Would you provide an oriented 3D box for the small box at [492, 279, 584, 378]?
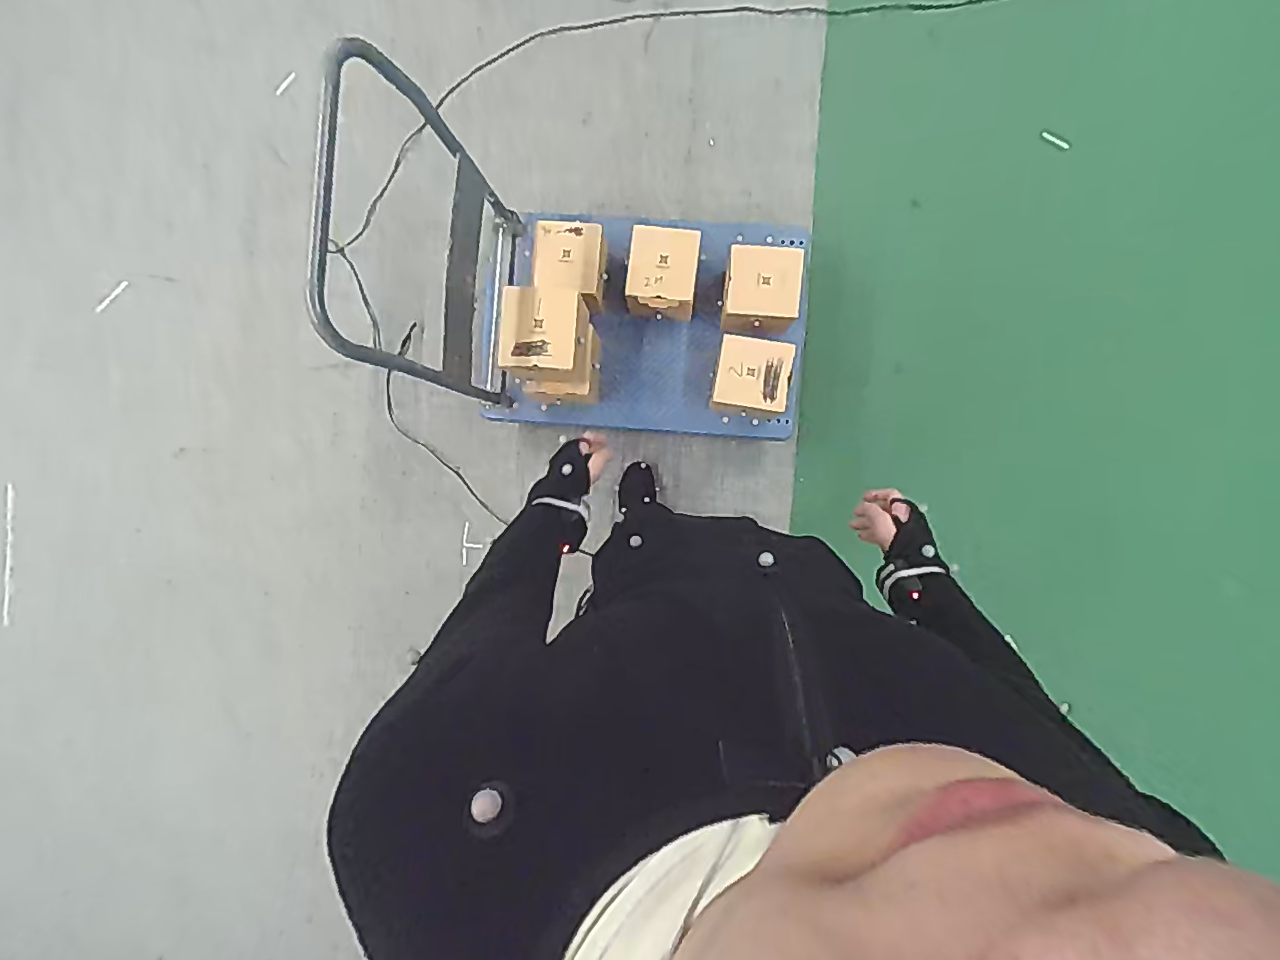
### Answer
[{"bbox_3d":[-0.224,-0.333,1.222,0.168,0.176,0.179,5,90,2],"label":"small box"}]

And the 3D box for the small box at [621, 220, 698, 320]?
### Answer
[{"bbox_3d":[0.050,-0.526,1.372,0.168,0.176,0.179,8,91,4],"label":"small box"}]

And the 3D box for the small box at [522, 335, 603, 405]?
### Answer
[{"bbox_3d":[-0.216,-0.310,1.394,0.179,0.176,0.168,35,93,3],"label":"small box"}]

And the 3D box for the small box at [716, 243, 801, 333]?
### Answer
[{"bbox_3d":[0.290,-0.476,1.360,0.179,0.176,0.168,6,91,3],"label":"small box"}]
